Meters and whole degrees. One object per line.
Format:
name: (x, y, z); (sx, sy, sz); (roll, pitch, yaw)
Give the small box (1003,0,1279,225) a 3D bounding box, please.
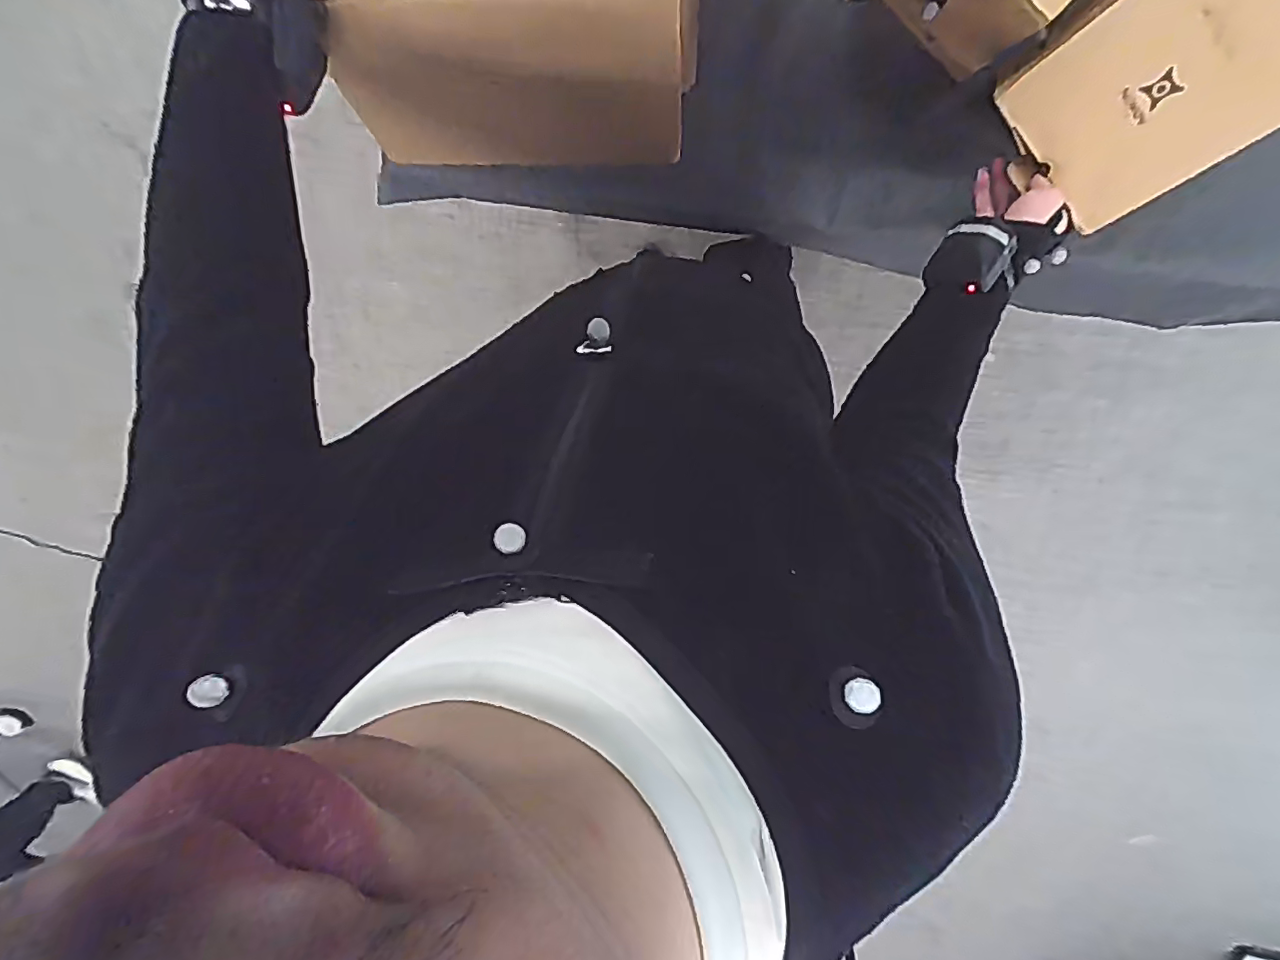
small box: (0.478, -0.385, 0.501); (0.168, 0.176, 0.179); (44, 142, -12)
